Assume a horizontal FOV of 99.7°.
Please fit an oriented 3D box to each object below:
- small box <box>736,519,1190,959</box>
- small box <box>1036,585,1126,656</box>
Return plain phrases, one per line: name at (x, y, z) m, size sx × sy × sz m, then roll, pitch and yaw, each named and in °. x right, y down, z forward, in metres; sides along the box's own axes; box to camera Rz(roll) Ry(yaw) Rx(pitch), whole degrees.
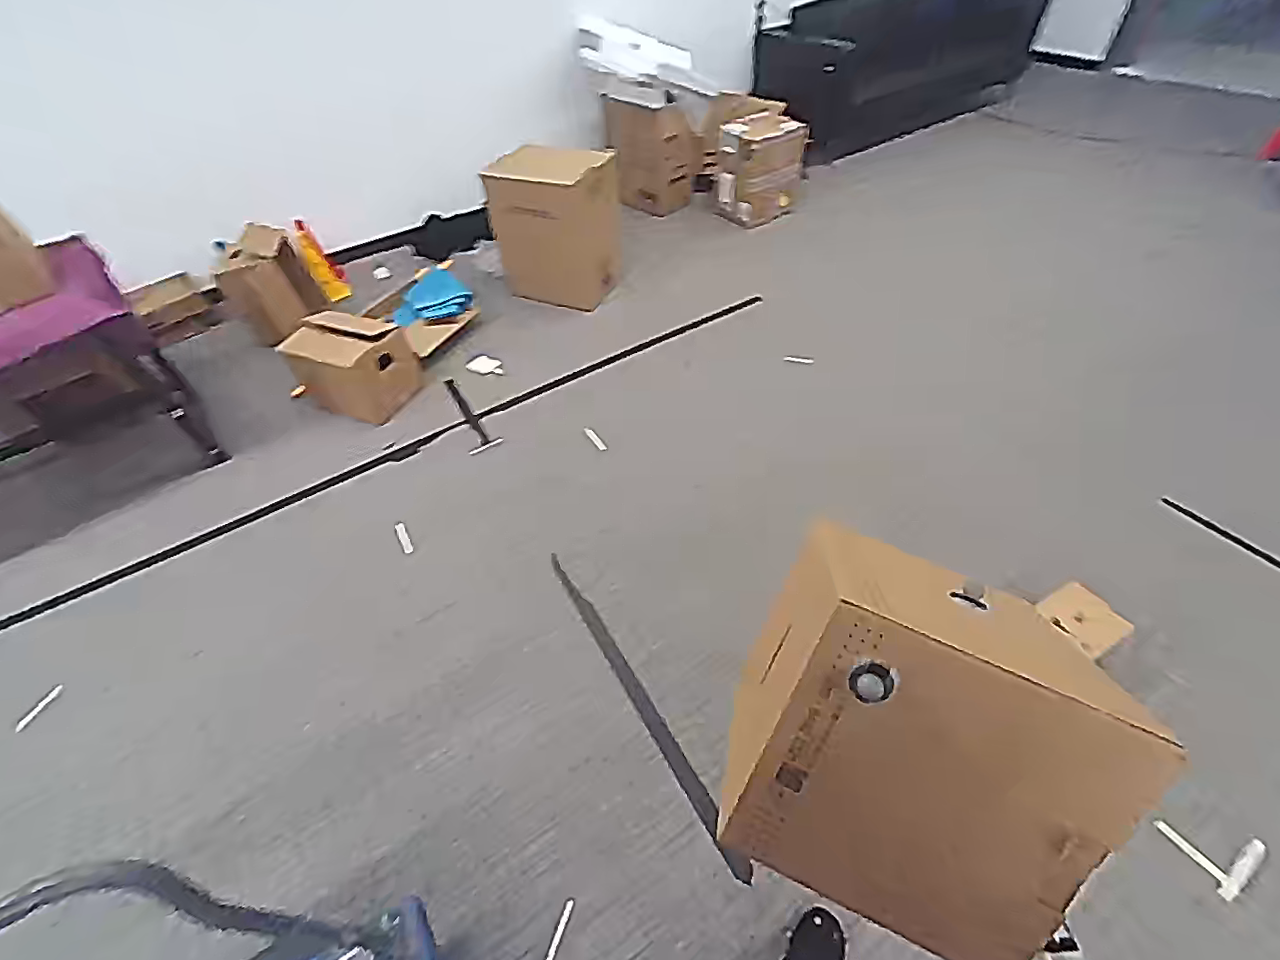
small box at (0.171, 0.146, 0.359) m, size 0.176 × 0.168 × 0.179 m, roll 24°, pitch 15°, yaw 9°
small box at (1.134, 0.422, 1.463) m, size 0.179 × 0.176 × 0.168 m, roll -24°, pitch 51°, yaw -16°
